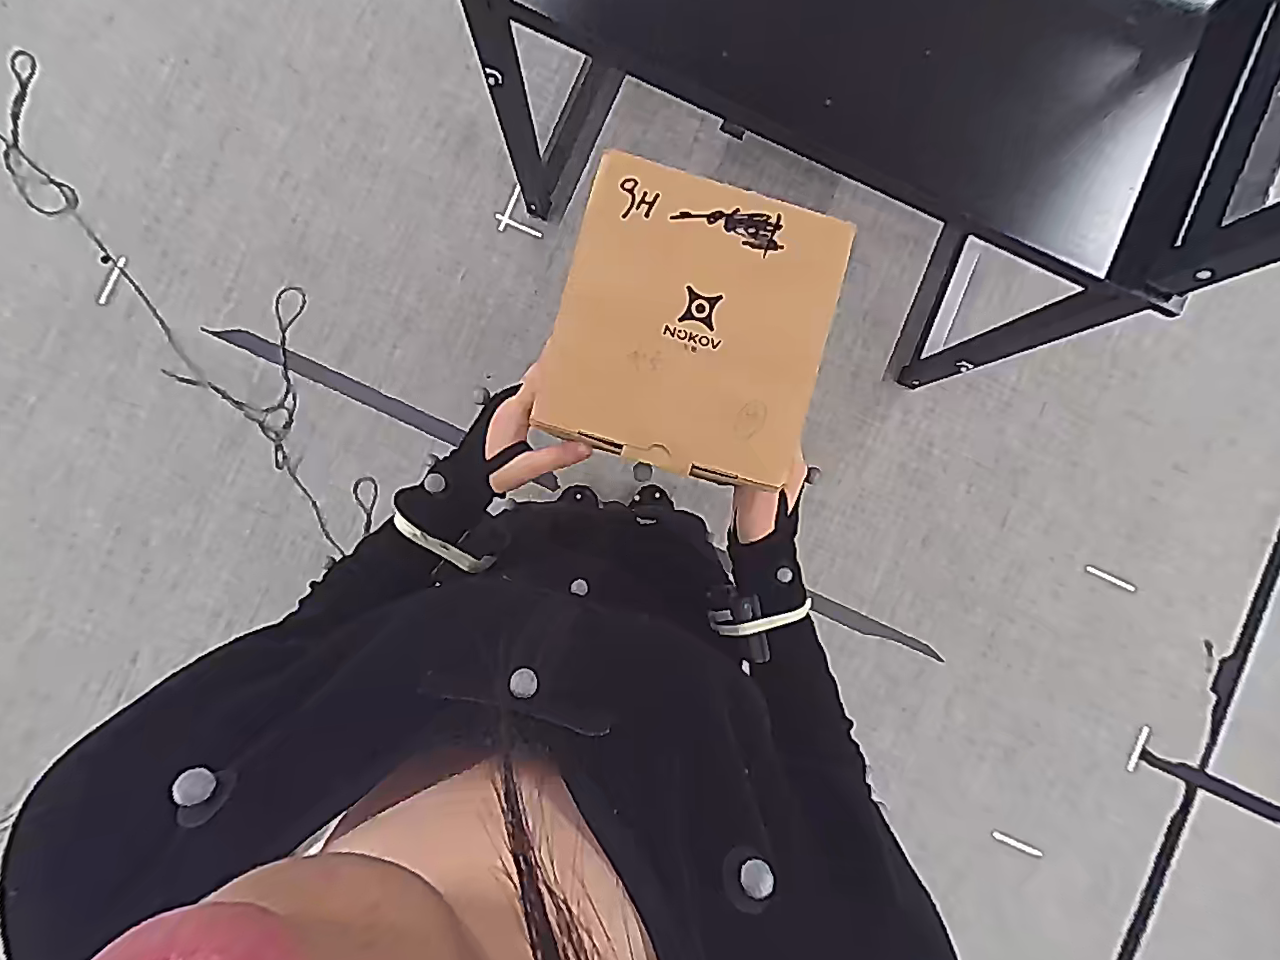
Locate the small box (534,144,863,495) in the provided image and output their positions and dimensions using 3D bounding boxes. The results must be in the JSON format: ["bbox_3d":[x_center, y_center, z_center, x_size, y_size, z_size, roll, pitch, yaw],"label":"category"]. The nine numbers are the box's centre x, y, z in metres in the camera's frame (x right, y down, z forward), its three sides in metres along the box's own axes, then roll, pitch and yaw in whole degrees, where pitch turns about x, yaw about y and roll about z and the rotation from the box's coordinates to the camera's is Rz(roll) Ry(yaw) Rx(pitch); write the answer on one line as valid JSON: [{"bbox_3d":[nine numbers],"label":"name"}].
[{"bbox_3d":[0.032,-0.098,0.406,0.168,0.176,0.179,15,91,-4],"label":"small box"}]
